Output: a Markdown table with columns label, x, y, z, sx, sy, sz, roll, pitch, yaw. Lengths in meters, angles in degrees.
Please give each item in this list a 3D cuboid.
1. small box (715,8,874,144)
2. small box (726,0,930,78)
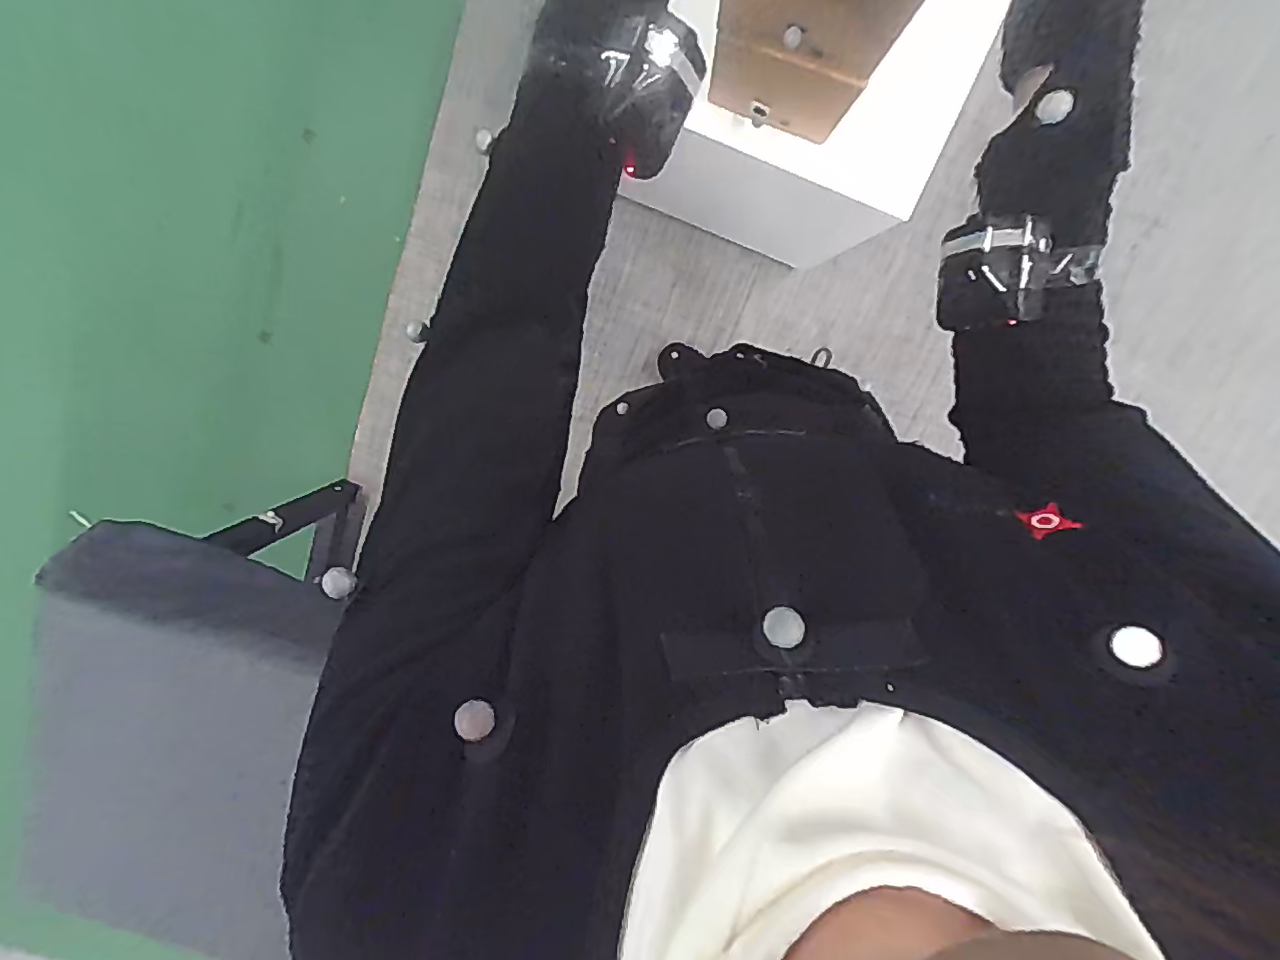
| label | x | y | z | sx | sy | sz | roll | pitch | yaw |
| --- | --- | --- | --- | --- | --- | --- | --- | --- | --- |
| small box | 0.187 | -0.519 | 0.604 | 0.168 | 0.176 | 0.179 | 19 | 106 | 0 |
| small box | 0.175 | -0.486 | 0.444 | 0.168 | 0.176 | 0.179 | 16 | 103 | 0 |
